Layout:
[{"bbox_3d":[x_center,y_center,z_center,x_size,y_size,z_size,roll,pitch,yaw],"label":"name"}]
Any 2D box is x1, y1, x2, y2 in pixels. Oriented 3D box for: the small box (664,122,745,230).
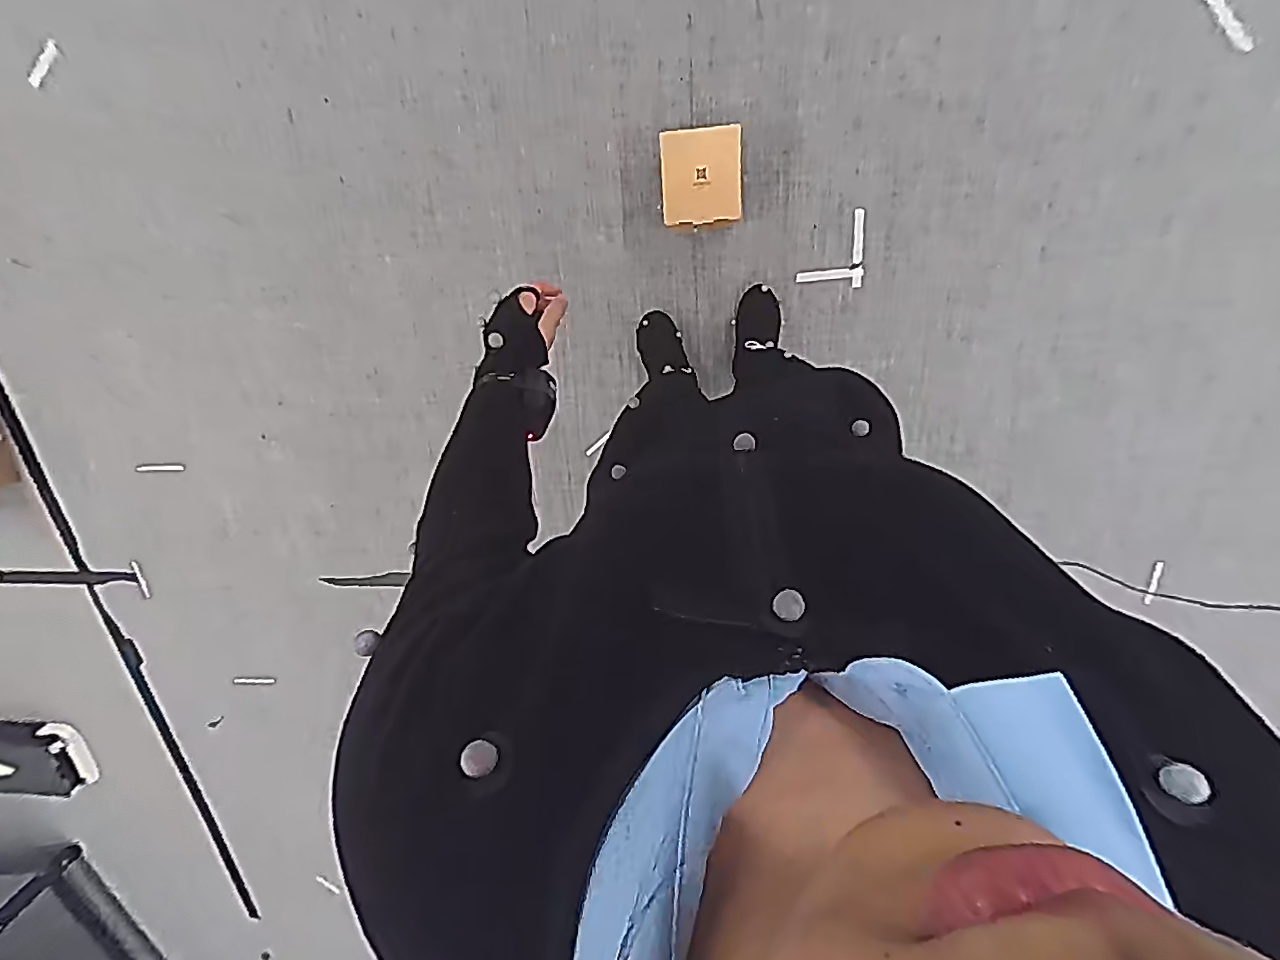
[{"bbox_3d":[0.139,-0.660,1.191,0.168,0.176,0.179,-3,111,5],"label":"small box"}]
